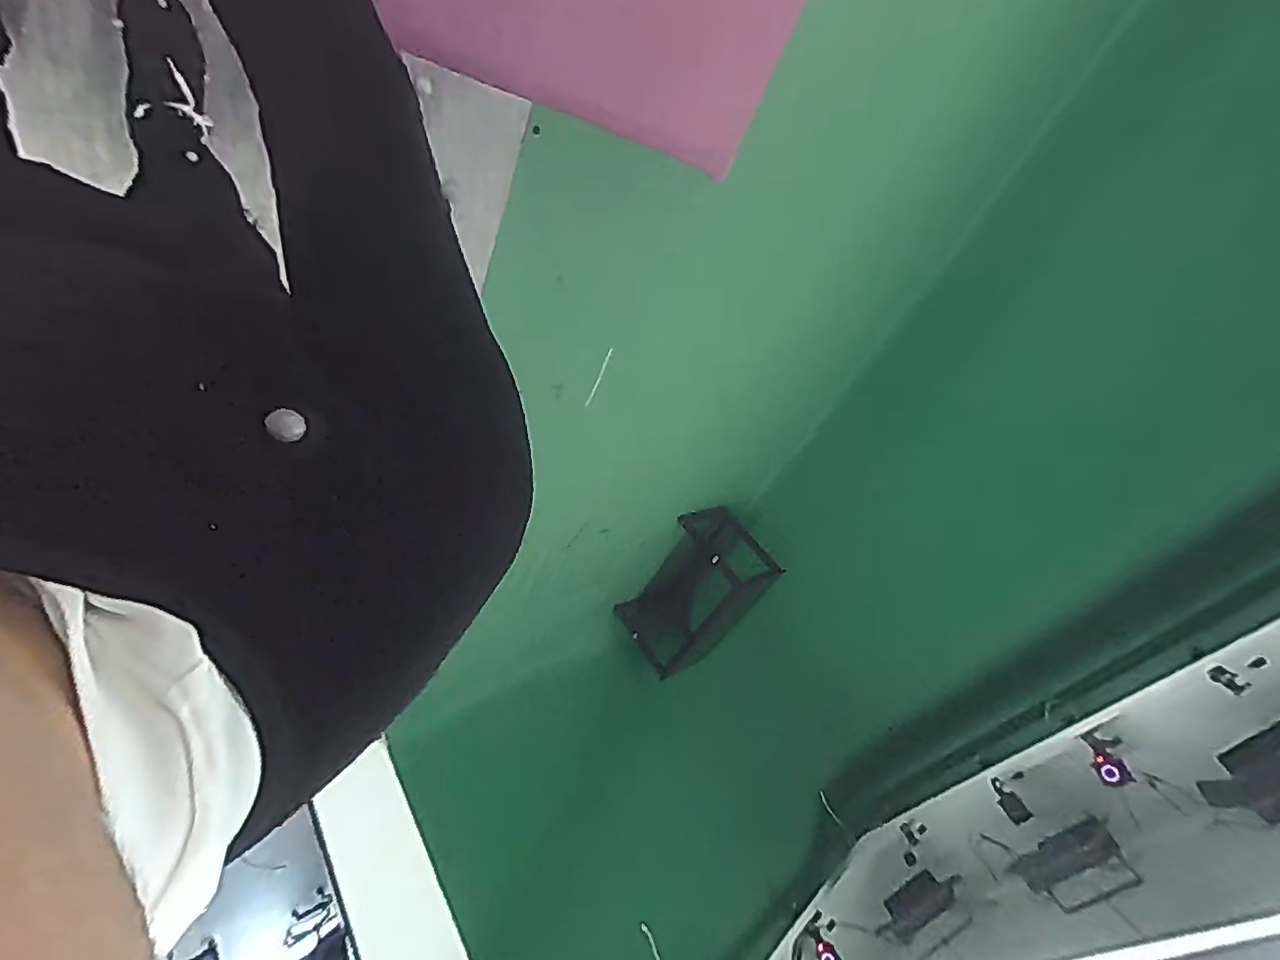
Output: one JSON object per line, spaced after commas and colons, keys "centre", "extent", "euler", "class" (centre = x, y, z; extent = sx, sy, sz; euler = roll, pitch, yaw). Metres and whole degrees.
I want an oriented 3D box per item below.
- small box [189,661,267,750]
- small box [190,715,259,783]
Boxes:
{"centre": [-1.298, 0.703, 1.700], "extent": [0.168, 0.176, 0.179], "euler": [-8, 141, -45], "class": "small box"}
{"centre": [-1.415, 0.881, 1.841], "extent": [0.168, 0.176, 0.179], "euler": [-9, 139, -44], "class": "small box"}
